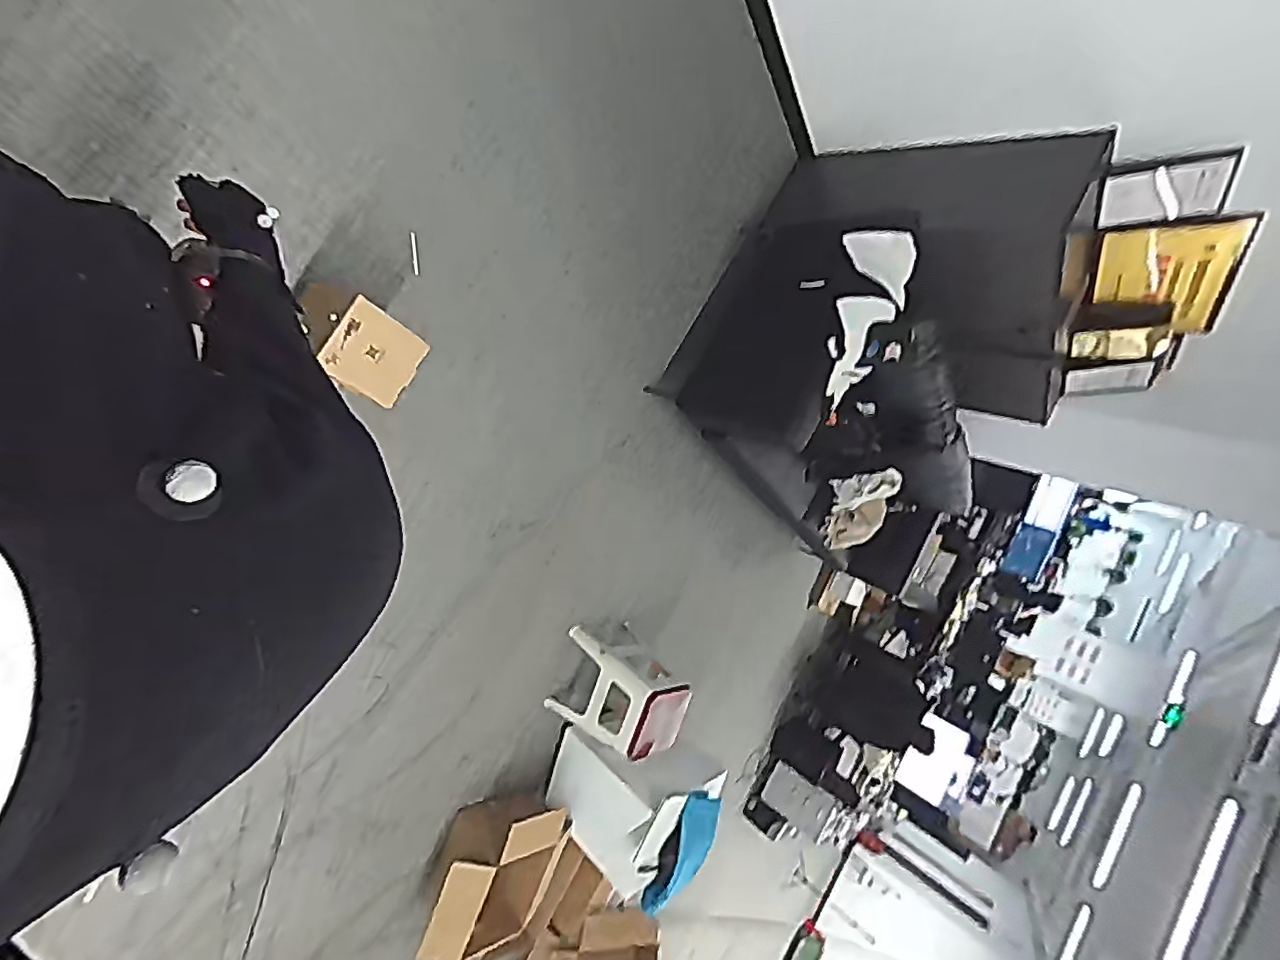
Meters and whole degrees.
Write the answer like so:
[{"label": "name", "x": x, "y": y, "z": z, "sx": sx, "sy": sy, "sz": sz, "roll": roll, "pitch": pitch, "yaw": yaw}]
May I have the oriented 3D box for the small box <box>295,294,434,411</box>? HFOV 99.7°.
[{"label": "small box", "x": -0.588, "y": -0.277, "z": 1.153, "sx": 0.168, "sy": 0.176, "sz": 0.179, "roll": -59, "pitch": 140, "yaw": -7}]
